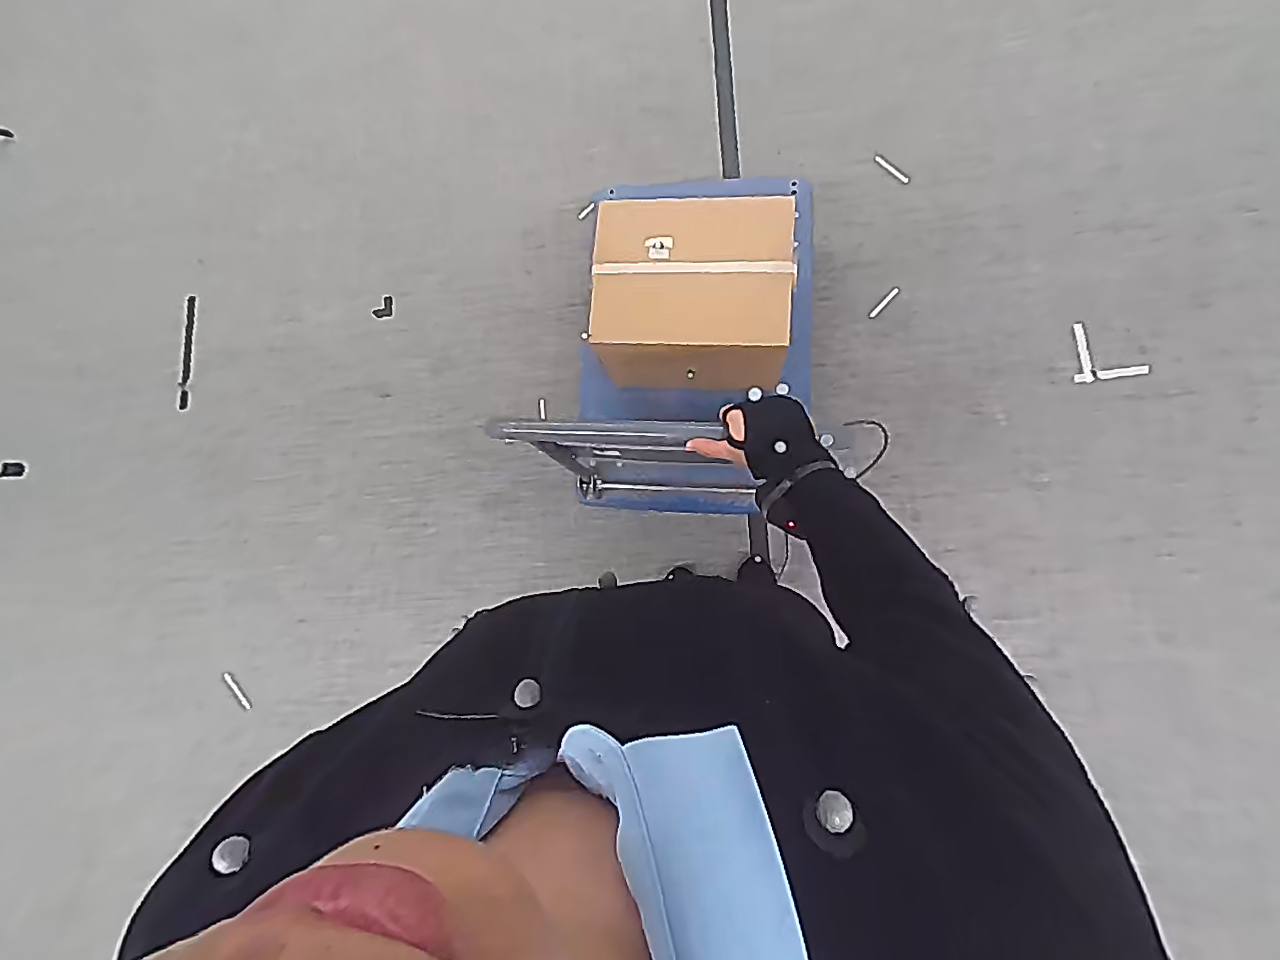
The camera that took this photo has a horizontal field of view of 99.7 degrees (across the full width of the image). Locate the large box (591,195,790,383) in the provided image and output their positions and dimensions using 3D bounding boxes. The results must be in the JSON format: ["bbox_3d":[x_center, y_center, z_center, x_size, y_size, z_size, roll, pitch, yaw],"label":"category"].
[{"bbox_3d":[0.127,-0.413,1.253,0.408,0.320,0.320,3,83,10],"label":"large box"}]
